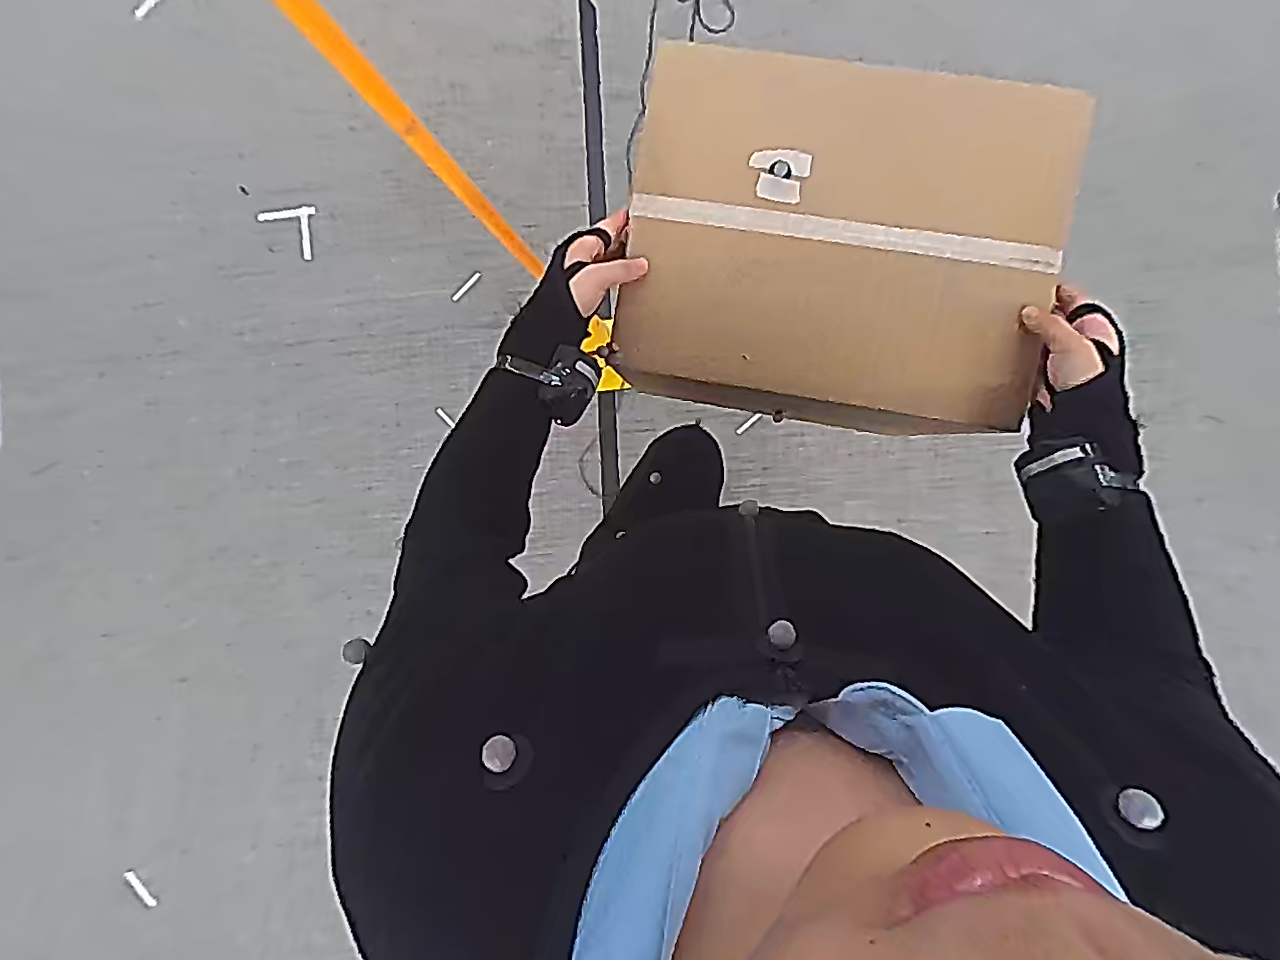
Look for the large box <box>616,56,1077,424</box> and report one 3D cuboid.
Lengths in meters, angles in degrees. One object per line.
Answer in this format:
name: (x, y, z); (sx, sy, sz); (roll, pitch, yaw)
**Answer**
large box: (0.206, -0.250, 0.677); (0.408, 0.320, 0.320); (10, 94, 5)
